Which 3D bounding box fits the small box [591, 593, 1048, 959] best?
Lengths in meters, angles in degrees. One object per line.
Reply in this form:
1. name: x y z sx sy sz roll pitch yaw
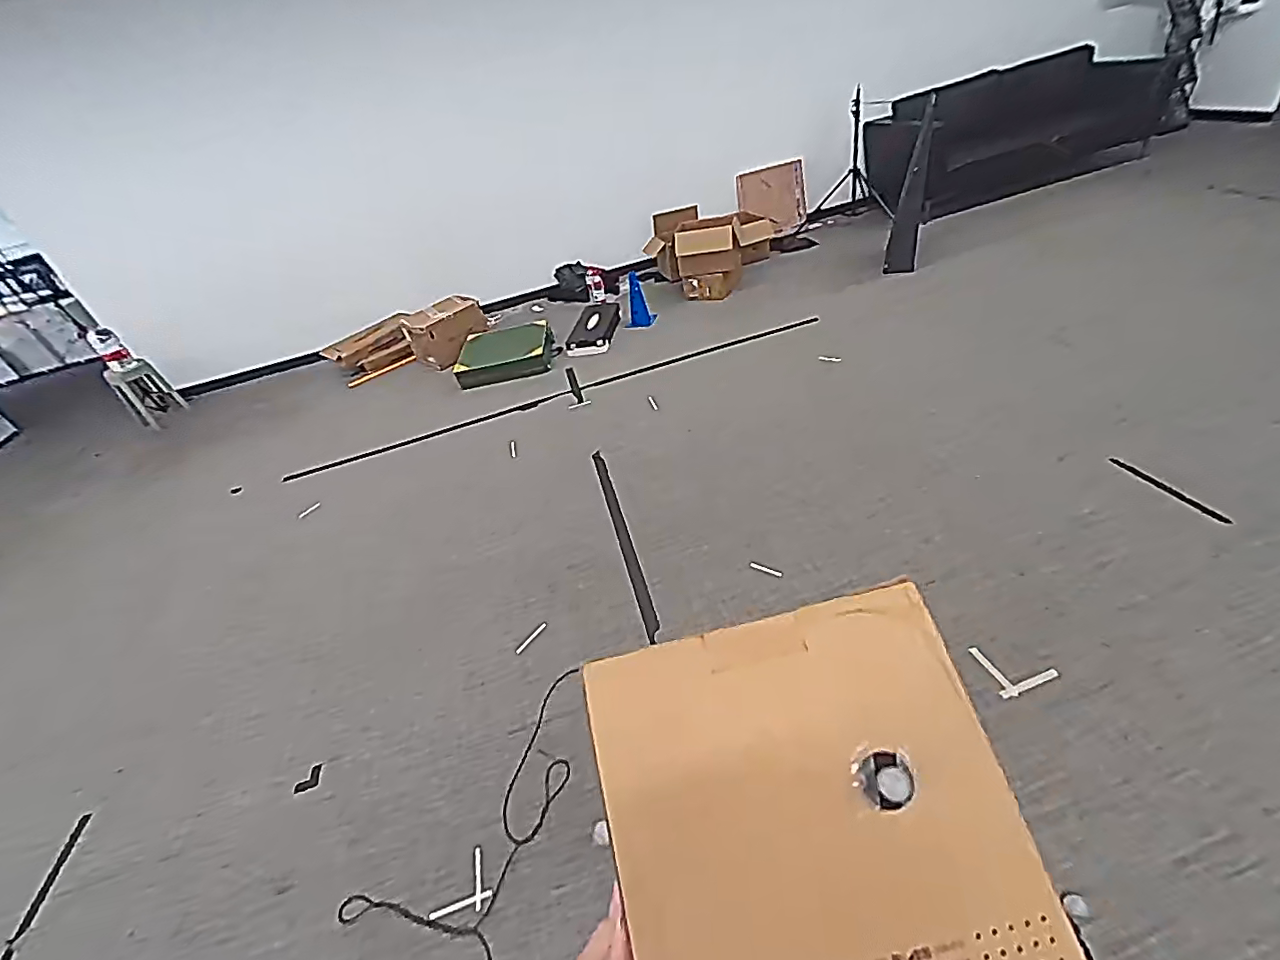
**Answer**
1. small box: 0.082 0.182 0.317 0.168 0.179 0.176 -15 67 1
